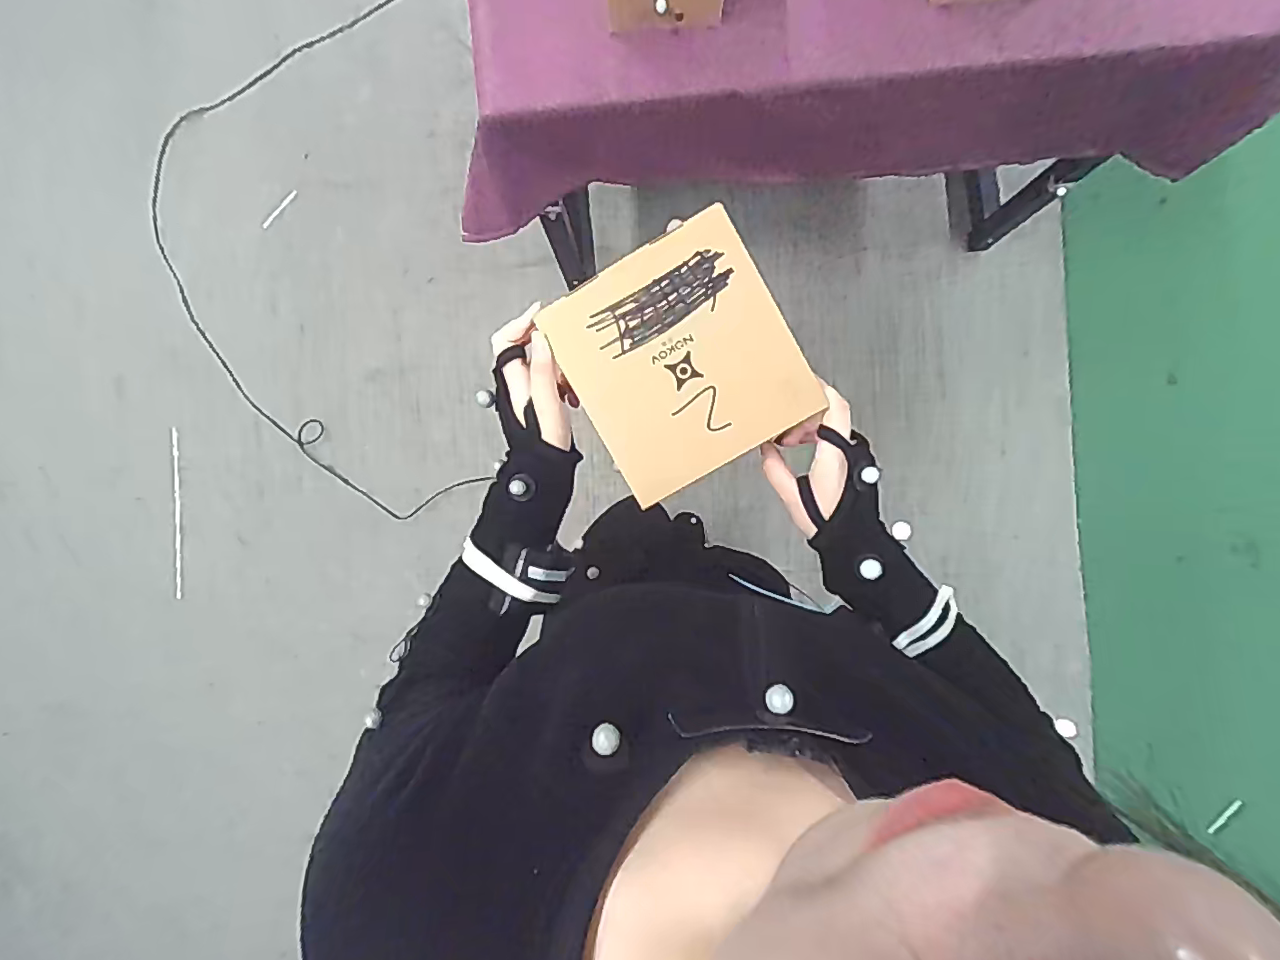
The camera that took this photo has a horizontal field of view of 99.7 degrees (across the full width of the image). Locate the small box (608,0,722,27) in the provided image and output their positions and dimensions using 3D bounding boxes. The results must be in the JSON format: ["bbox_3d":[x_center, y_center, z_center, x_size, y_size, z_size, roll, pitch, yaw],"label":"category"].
[{"bbox_3d":[0.032,-0.755,0.714,0.168,0.176,0.179,-2,89,1],"label":"small box"}]
